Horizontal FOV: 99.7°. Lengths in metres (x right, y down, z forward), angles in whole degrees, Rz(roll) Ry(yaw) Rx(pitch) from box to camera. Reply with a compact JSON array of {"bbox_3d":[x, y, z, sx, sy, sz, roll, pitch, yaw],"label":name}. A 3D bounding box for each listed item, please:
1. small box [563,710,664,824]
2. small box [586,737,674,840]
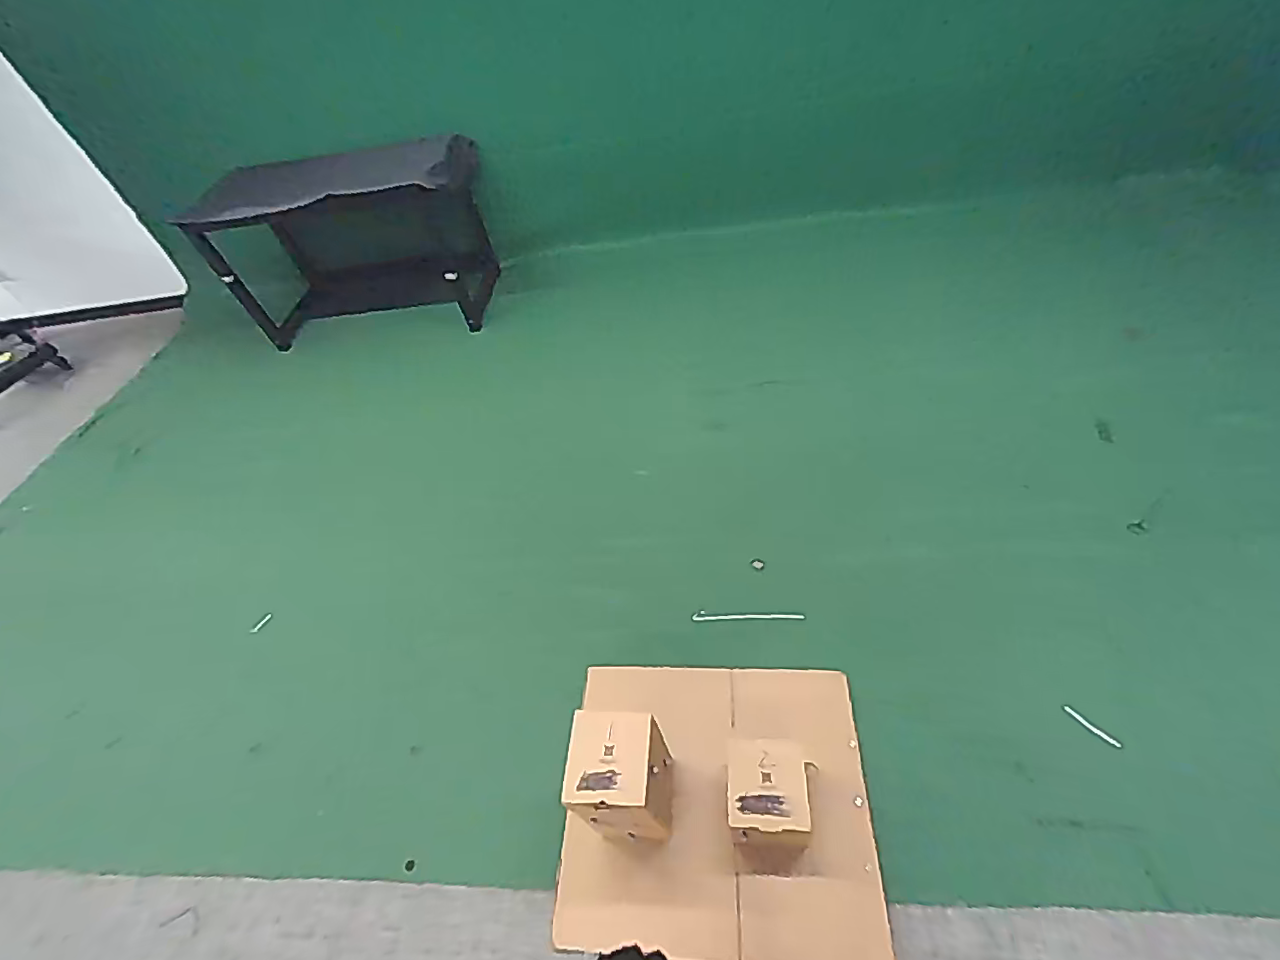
[{"bbox_3d":[-0.045,0.596,1.118,0.168,0.176,0.179,-3,48,11],"label":"small box"},{"bbox_3d":[-0.016,0.704,1.238,0.168,0.176,0.179,-5,48,10],"label":"small box"}]
